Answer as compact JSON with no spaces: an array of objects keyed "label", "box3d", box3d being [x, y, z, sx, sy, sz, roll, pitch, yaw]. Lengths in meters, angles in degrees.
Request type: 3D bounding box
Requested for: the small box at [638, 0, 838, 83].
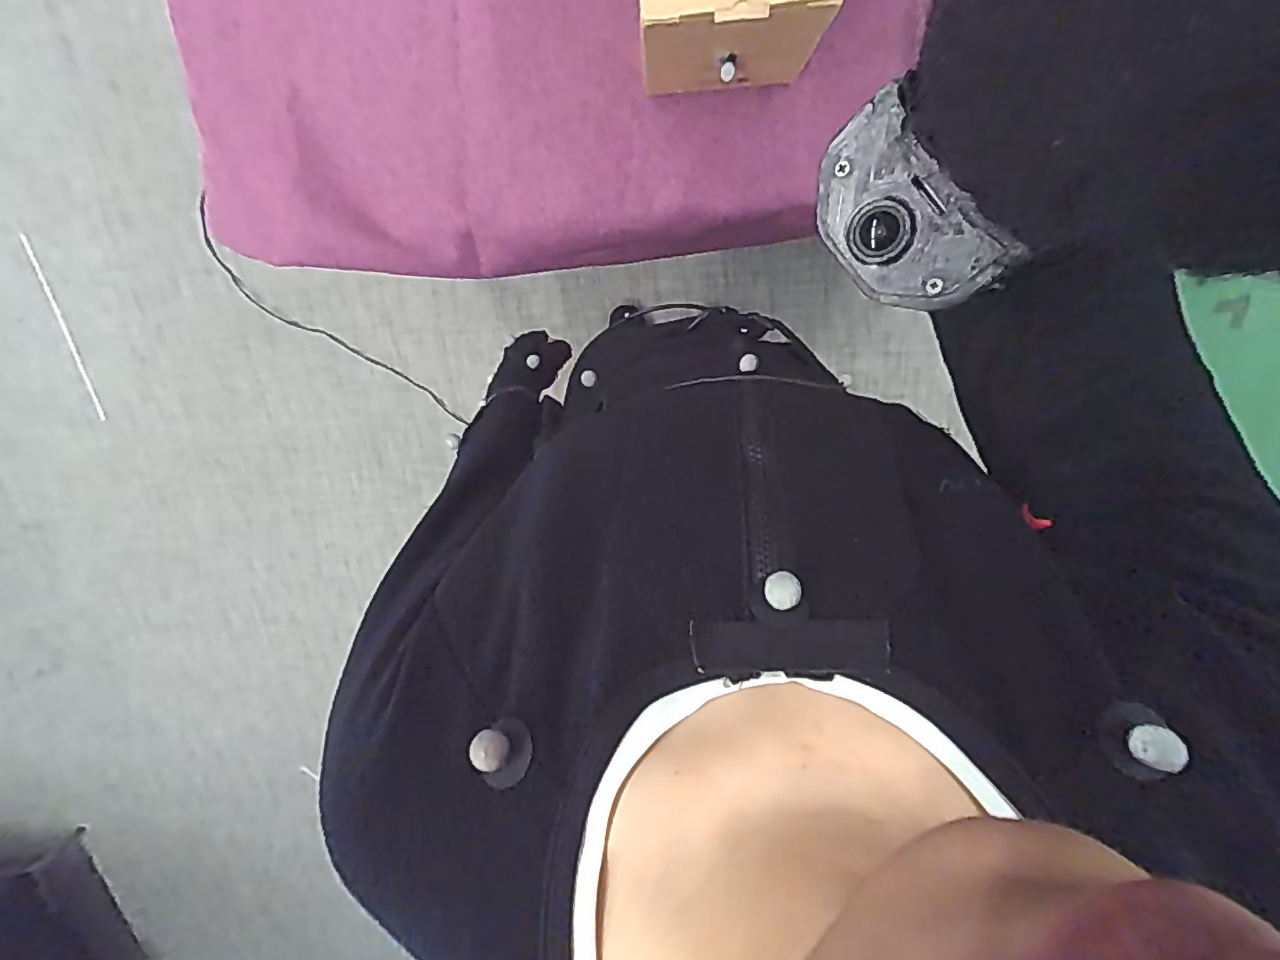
[{"label":"small box","box3d":[0.079,-0.485,0.484,0.168,0.176,0.179,-3,109,4]}]
